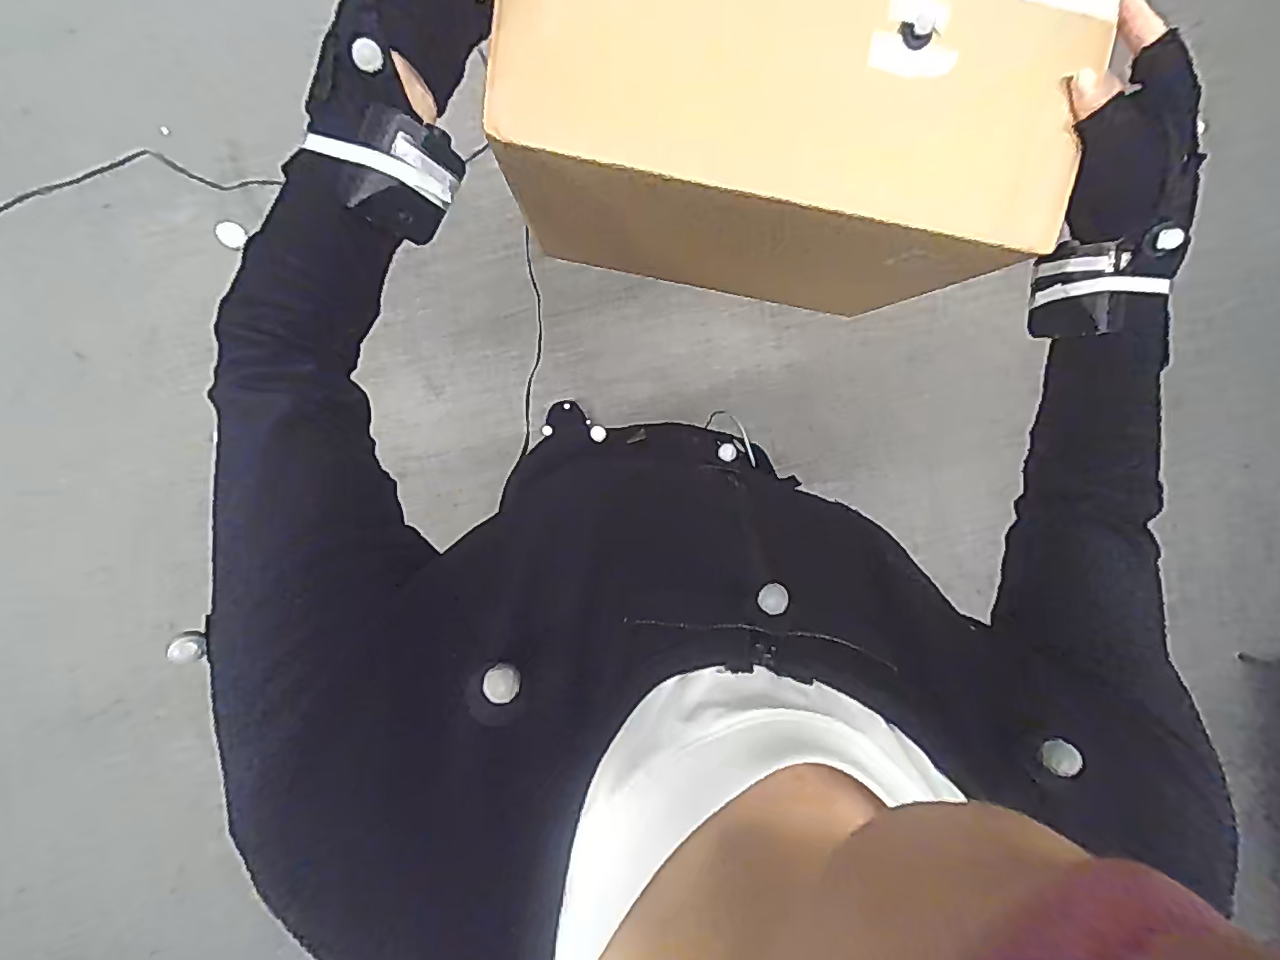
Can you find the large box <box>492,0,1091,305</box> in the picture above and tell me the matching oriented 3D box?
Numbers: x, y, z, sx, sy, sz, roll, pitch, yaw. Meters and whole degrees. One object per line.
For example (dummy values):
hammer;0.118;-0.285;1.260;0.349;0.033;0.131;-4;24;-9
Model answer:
large box;0.105;-0.373;0.506;0.408;0.320;0.320;8;99;-5
